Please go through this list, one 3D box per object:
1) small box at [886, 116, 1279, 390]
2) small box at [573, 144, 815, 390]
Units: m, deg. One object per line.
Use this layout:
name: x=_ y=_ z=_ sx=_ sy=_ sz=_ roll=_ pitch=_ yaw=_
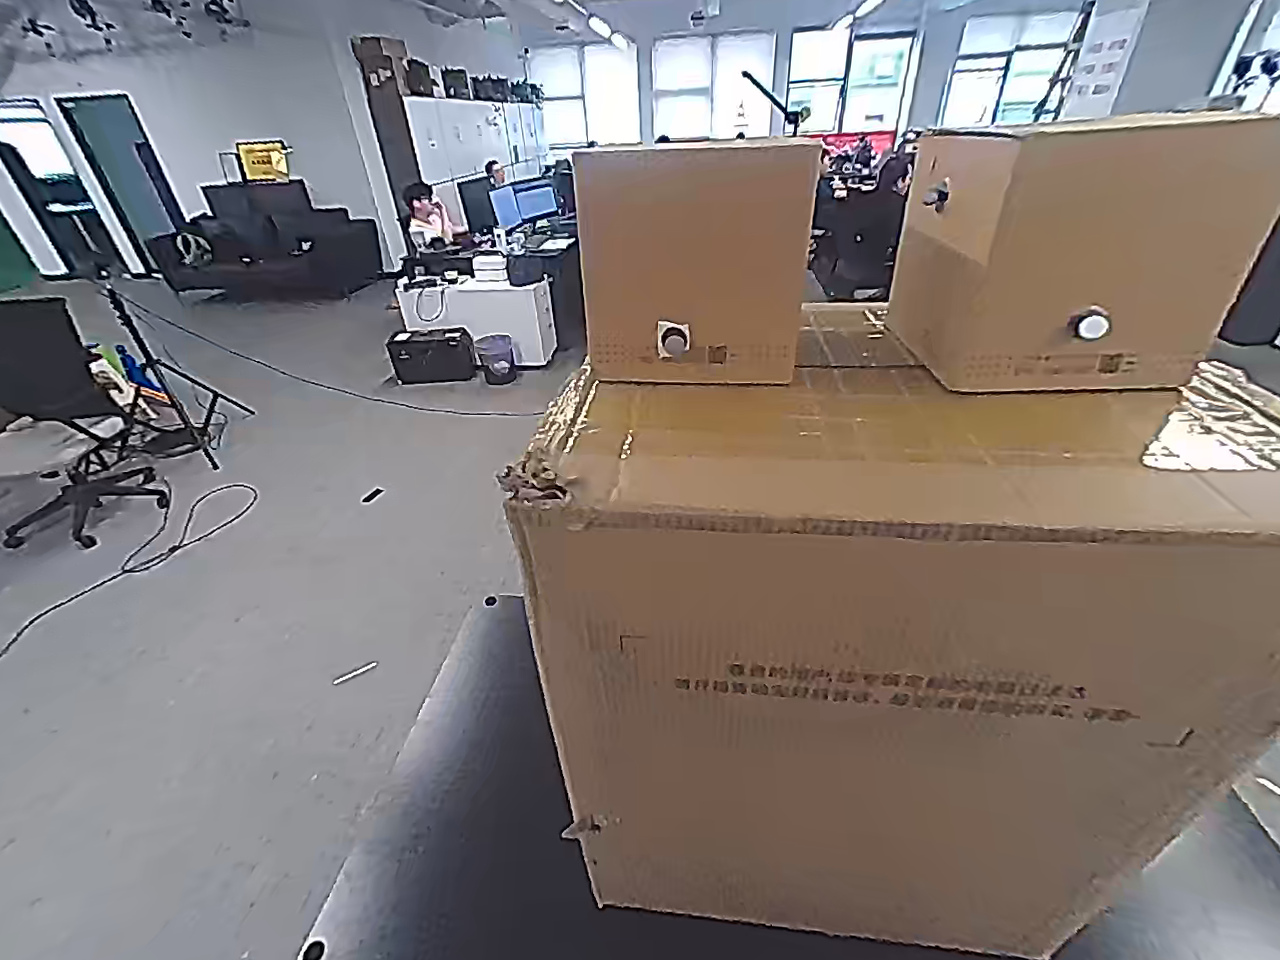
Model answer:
small box: x=0.314 y=-0.181 z=0.430 sx=0.168 sy=0.176 sz=0.179 roll=-1 pitch=33 yaw=6
small box: x=0.045 y=-0.189 z=0.472 sx=0.168 sy=0.176 sz=0.179 roll=0 pitch=34 yaw=6
